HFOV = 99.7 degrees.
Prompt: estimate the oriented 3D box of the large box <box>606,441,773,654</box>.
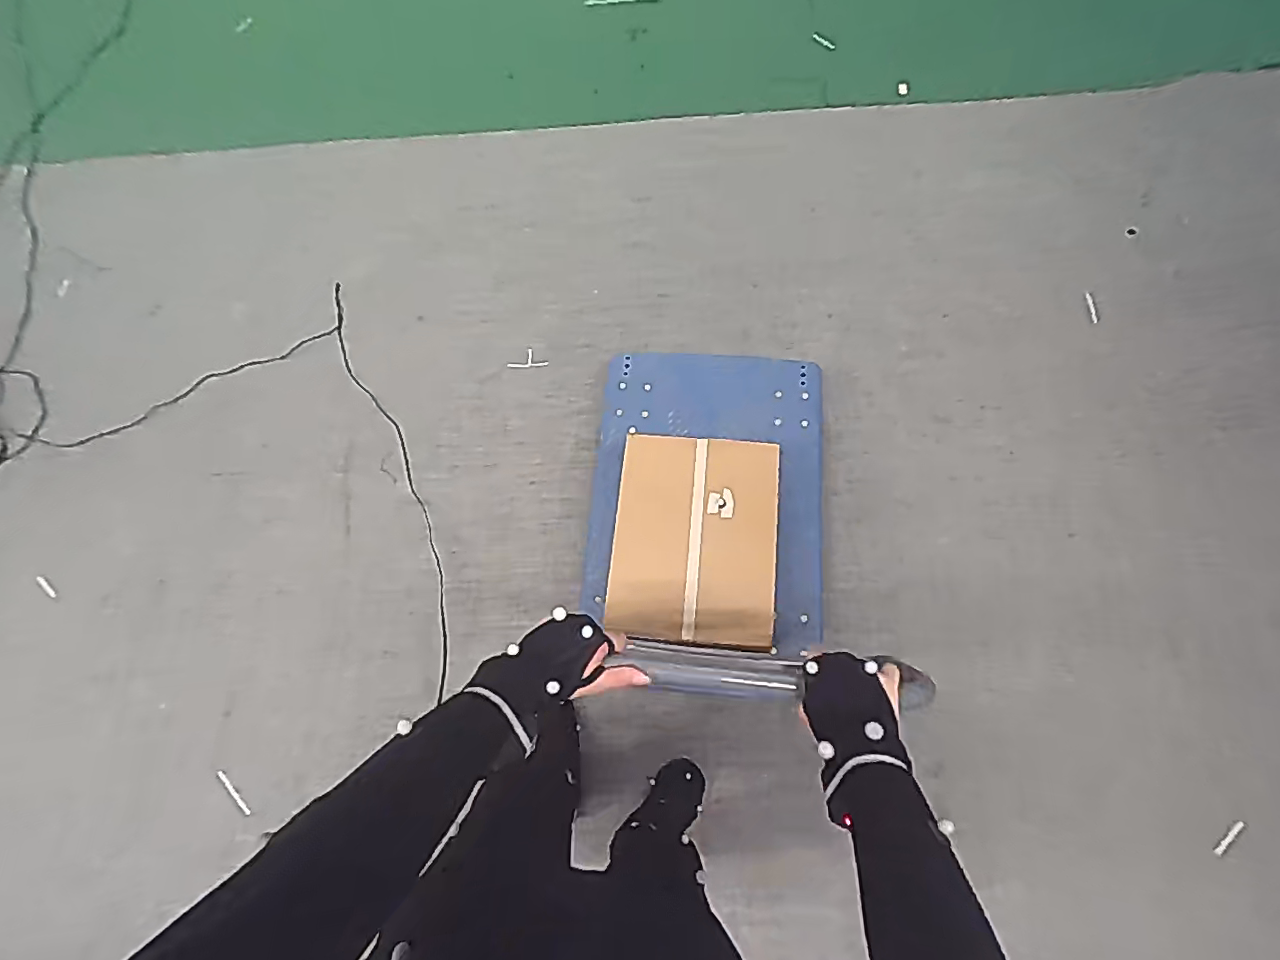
[{"bbox_3d":[0.114,0.164,1.205,0.320,0.320,0.408,5,71,5],"label":"large box"}]
